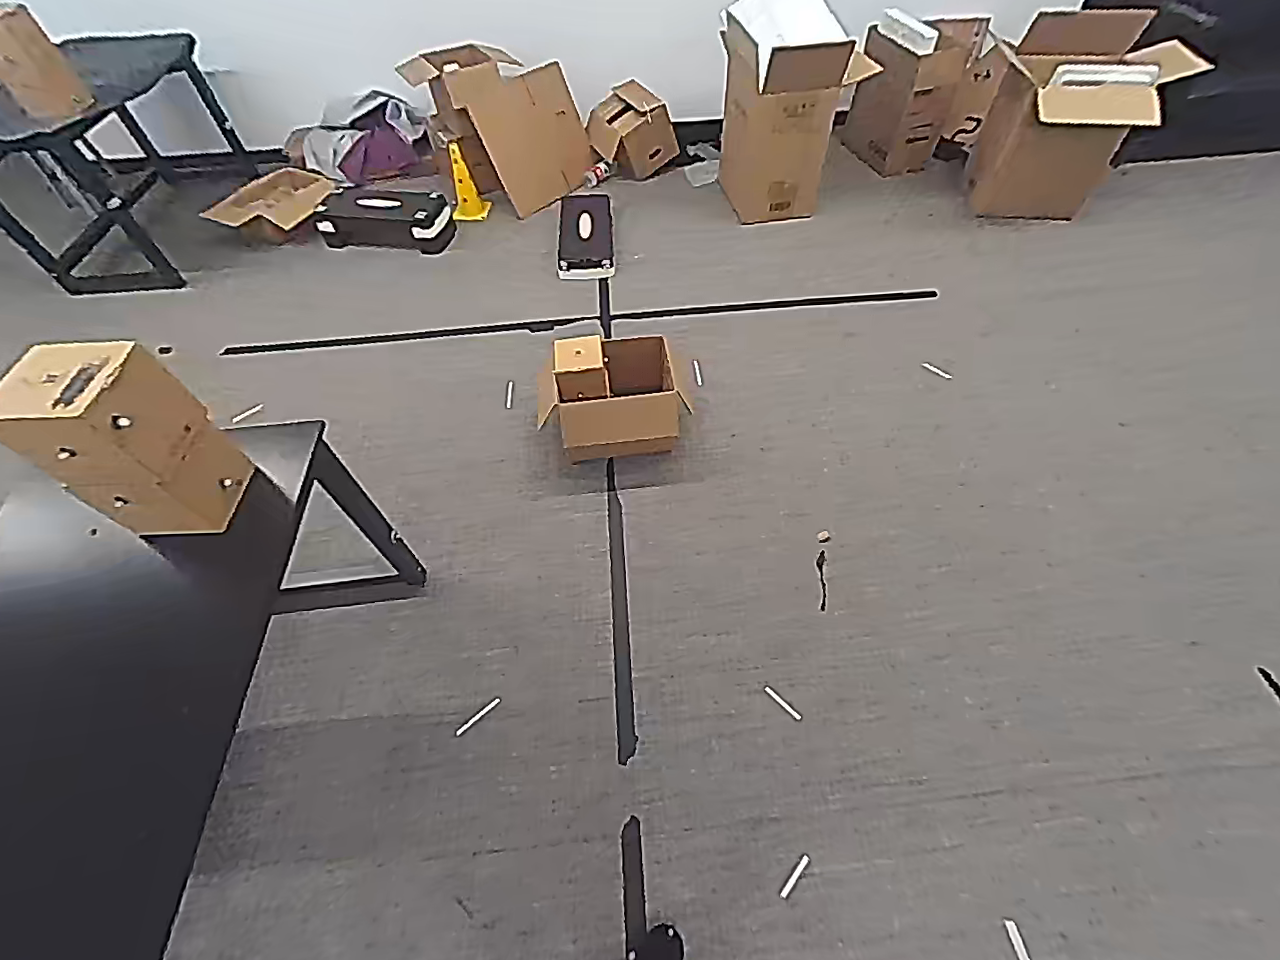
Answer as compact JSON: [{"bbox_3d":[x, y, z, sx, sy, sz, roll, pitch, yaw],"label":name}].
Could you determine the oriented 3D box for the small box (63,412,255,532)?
[{"bbox_3d":[-0.887,-0.011,1.020,0.179,0.176,0.168,-1,55,1],"label":"small box"}]
